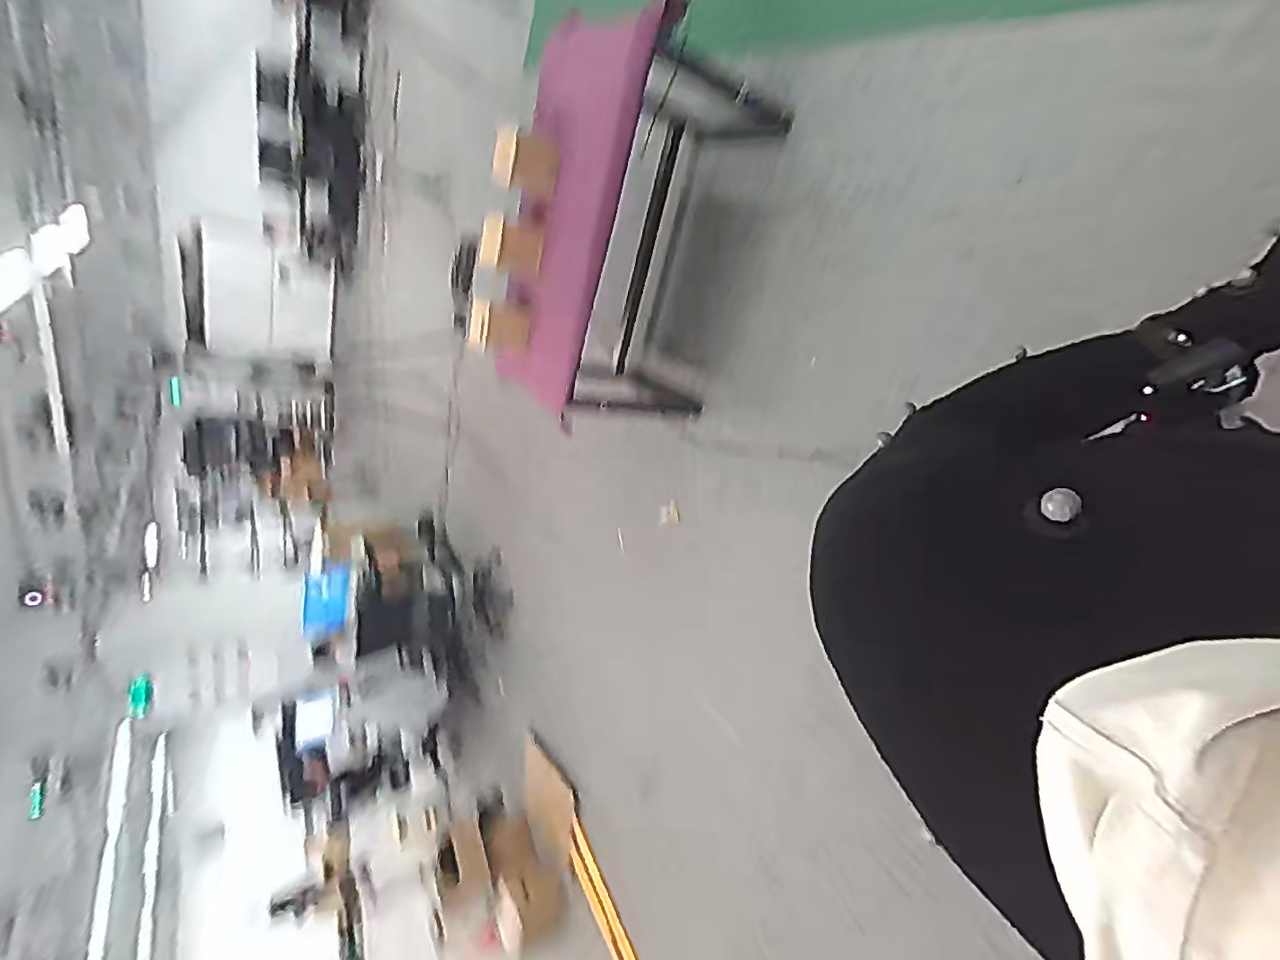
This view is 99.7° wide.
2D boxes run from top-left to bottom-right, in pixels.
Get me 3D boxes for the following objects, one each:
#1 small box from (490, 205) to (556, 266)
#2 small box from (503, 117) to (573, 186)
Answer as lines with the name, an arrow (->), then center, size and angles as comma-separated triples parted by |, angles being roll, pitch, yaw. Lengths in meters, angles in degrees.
small box -> -0.439, -0.913, 2.026 | 0.179, 0.176, 0.168 | 39, 121, 44
small box -> -0.361, -1.158, 1.909 | 0.179, 0.176, 0.168 | 41, 124, 43
